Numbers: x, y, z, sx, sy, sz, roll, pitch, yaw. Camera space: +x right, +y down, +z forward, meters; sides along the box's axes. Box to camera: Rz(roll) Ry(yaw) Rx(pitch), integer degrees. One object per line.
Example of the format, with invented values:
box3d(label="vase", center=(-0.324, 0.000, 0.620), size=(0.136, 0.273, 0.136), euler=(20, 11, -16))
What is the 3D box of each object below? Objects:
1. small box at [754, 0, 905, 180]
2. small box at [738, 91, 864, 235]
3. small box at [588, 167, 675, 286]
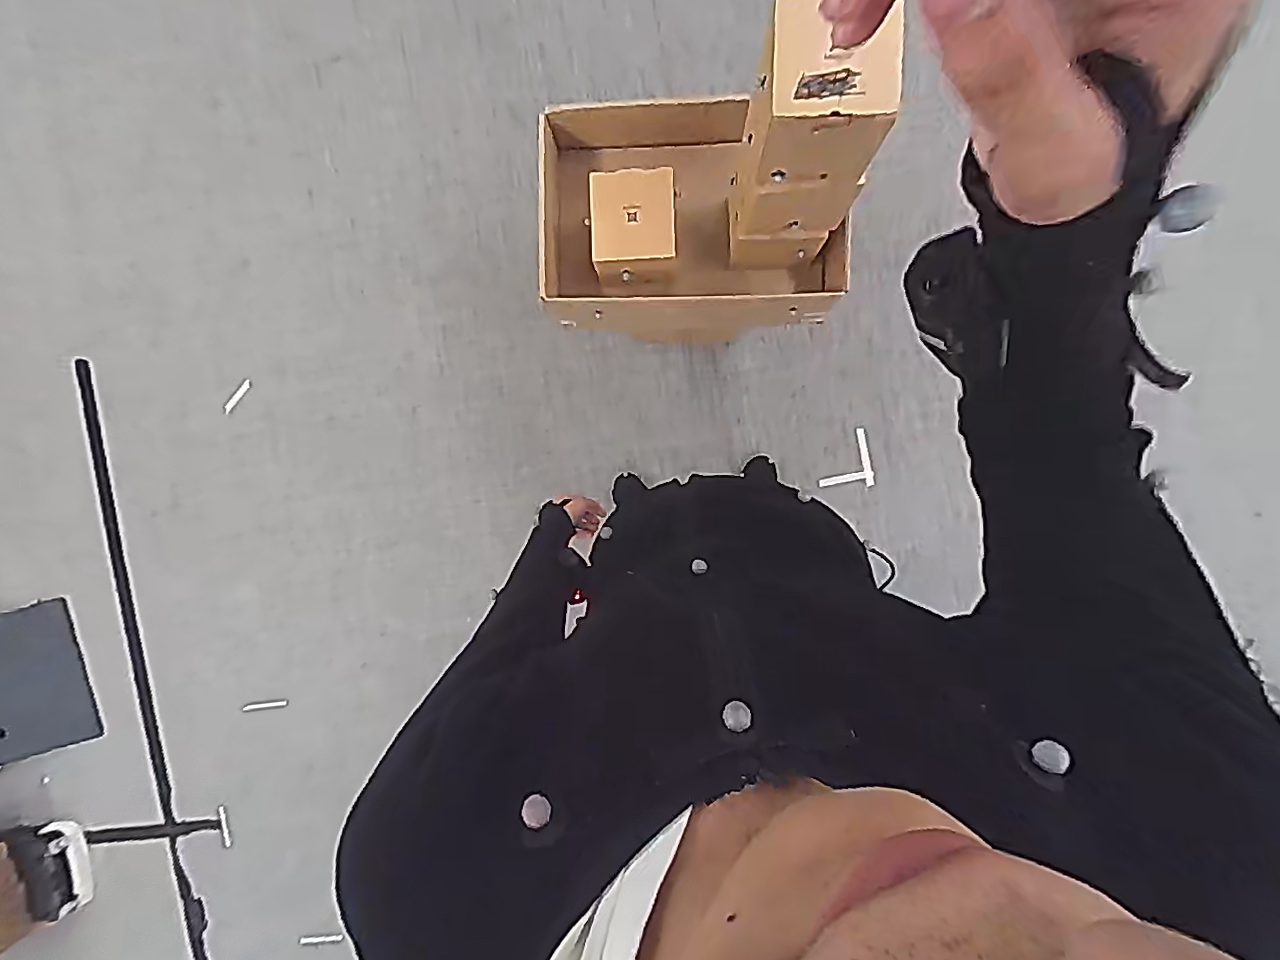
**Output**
box3d(label="small box", center=(0.258, -0.553, 0.771), size=(0.168, 0.176, 0.179), euler=(2, 91, 4))
box3d(label="small box", center=(0.270, -0.543, 0.936), size=(0.179, 0.176, 0.168), euler=(-2, 91, 3))
box3d(label="small box", center=(-0.012, -0.515, 1.125), size=(0.168, 0.176, 0.179), euler=(-2, 91, 4))
